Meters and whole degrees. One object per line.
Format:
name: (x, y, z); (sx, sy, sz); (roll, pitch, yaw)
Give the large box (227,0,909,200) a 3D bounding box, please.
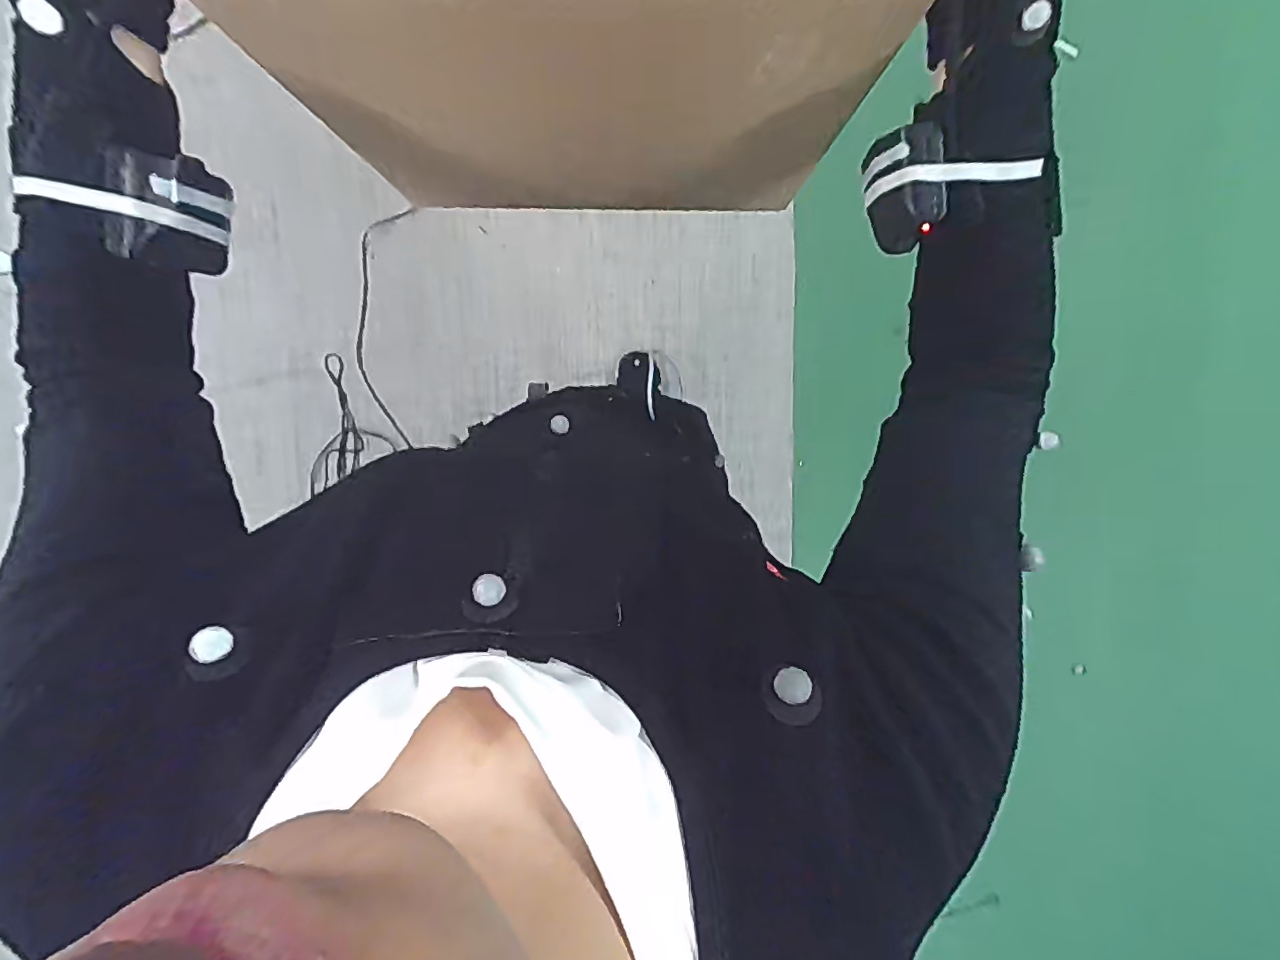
large box: (-0.043, -0.436, 0.414); (0.408, 0.320, 0.320); (0, 98, -1)
